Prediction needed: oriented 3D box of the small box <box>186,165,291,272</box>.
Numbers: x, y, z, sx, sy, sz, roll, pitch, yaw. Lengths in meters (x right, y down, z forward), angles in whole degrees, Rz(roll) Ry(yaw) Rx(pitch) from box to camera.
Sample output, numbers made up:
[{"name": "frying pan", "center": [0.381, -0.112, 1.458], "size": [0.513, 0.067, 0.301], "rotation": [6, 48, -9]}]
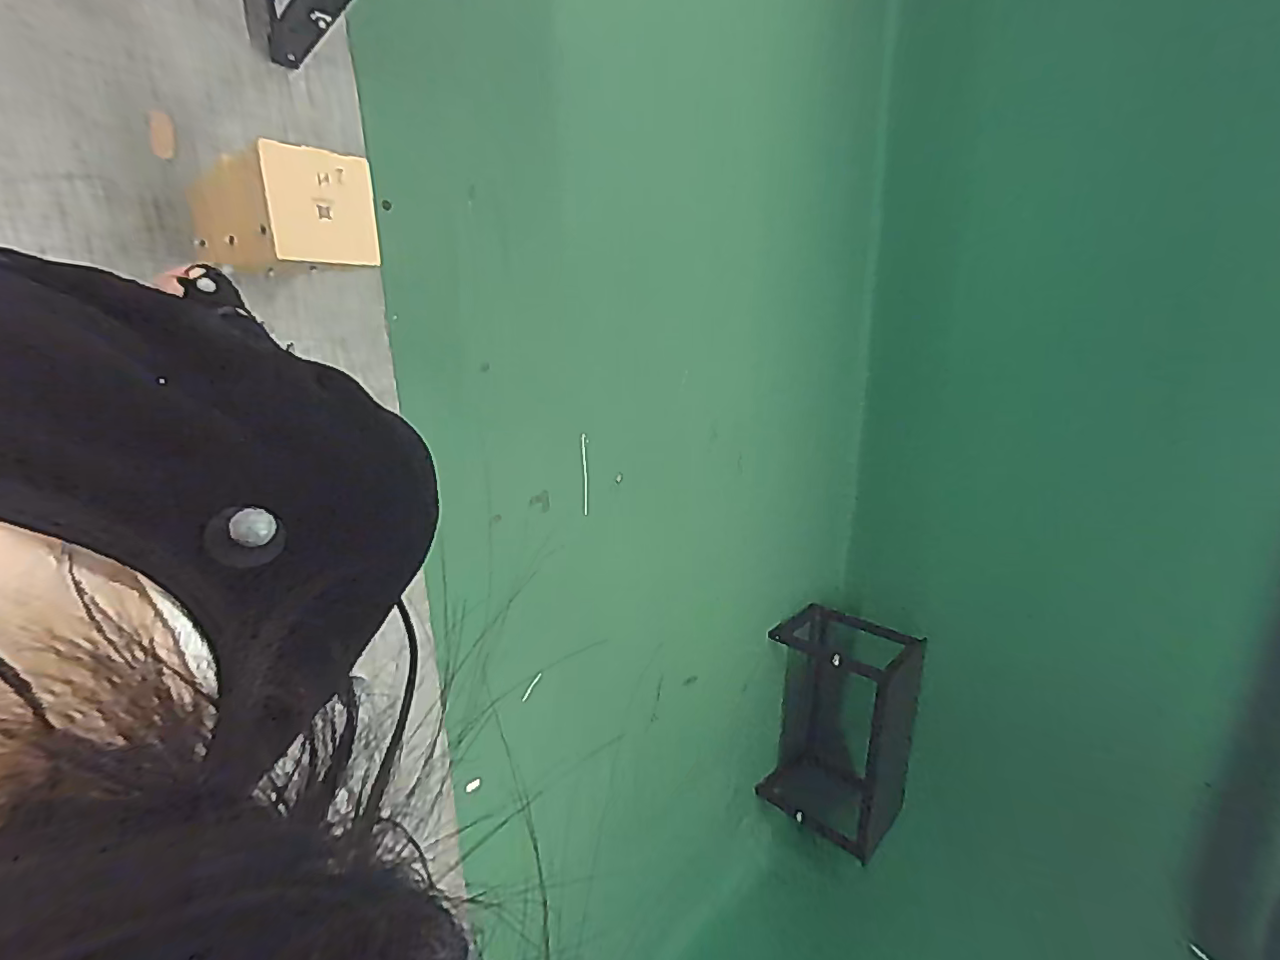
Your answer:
[{"name": "small box", "center": [-0.835, -0.540, 1.144], "size": [0.179, 0.176, 0.168], "rotation": [-14, 110, -45]}]

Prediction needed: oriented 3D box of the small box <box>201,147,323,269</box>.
[{"name": "small box", "center": [-0.714, -0.510, 1.041], "size": [0.168, 0.176, 0.179], "rotation": [-17, 114, -44]}]

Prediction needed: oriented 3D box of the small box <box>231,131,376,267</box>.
[{"name": "small box", "center": [-0.586, -0.473, 0.944], "size": [0.168, 0.176, 0.179], "rotation": [-17, 113, -44]}]
